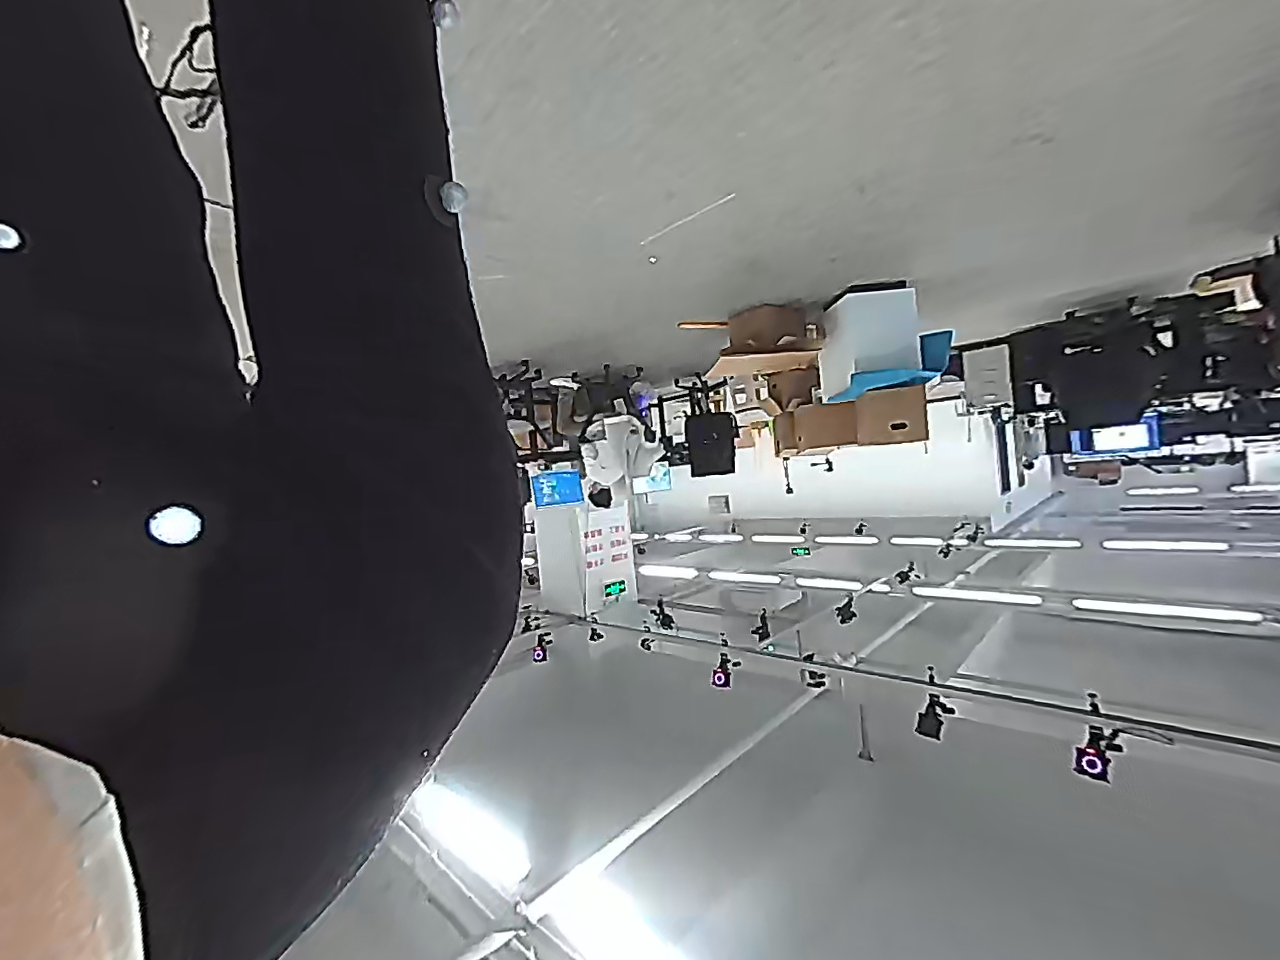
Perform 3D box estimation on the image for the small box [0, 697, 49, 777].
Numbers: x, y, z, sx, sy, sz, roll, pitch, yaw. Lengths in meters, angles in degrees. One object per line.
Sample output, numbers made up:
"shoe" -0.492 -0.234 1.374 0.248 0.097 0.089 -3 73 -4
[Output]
"small box" -1.852 0.751 1.574 0.179 0.176 0.168 -4 -178 43
